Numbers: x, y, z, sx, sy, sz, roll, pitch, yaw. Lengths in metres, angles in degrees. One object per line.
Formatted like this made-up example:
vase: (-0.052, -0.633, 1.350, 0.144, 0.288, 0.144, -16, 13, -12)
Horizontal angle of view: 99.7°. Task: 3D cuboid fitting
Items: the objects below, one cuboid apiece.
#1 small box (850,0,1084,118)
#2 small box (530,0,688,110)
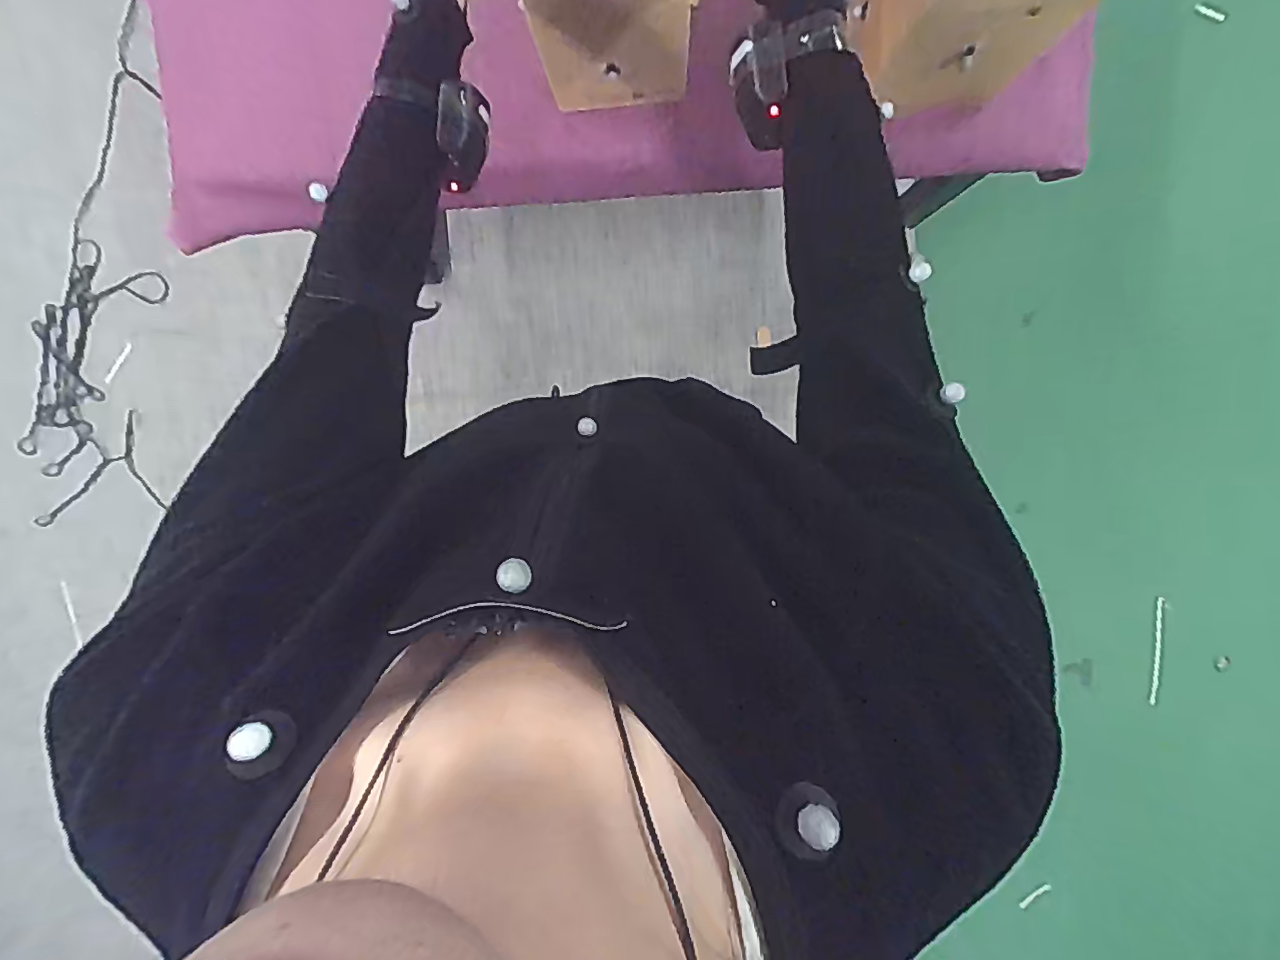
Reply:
small box: (0.349, -0.538, 0.601, 0.179, 0.176, 0.168, -4, 99, 6)
small box: (-0.030, -0.560, 0.623, 0.168, 0.176, 0.179, -3, 96, 4)
